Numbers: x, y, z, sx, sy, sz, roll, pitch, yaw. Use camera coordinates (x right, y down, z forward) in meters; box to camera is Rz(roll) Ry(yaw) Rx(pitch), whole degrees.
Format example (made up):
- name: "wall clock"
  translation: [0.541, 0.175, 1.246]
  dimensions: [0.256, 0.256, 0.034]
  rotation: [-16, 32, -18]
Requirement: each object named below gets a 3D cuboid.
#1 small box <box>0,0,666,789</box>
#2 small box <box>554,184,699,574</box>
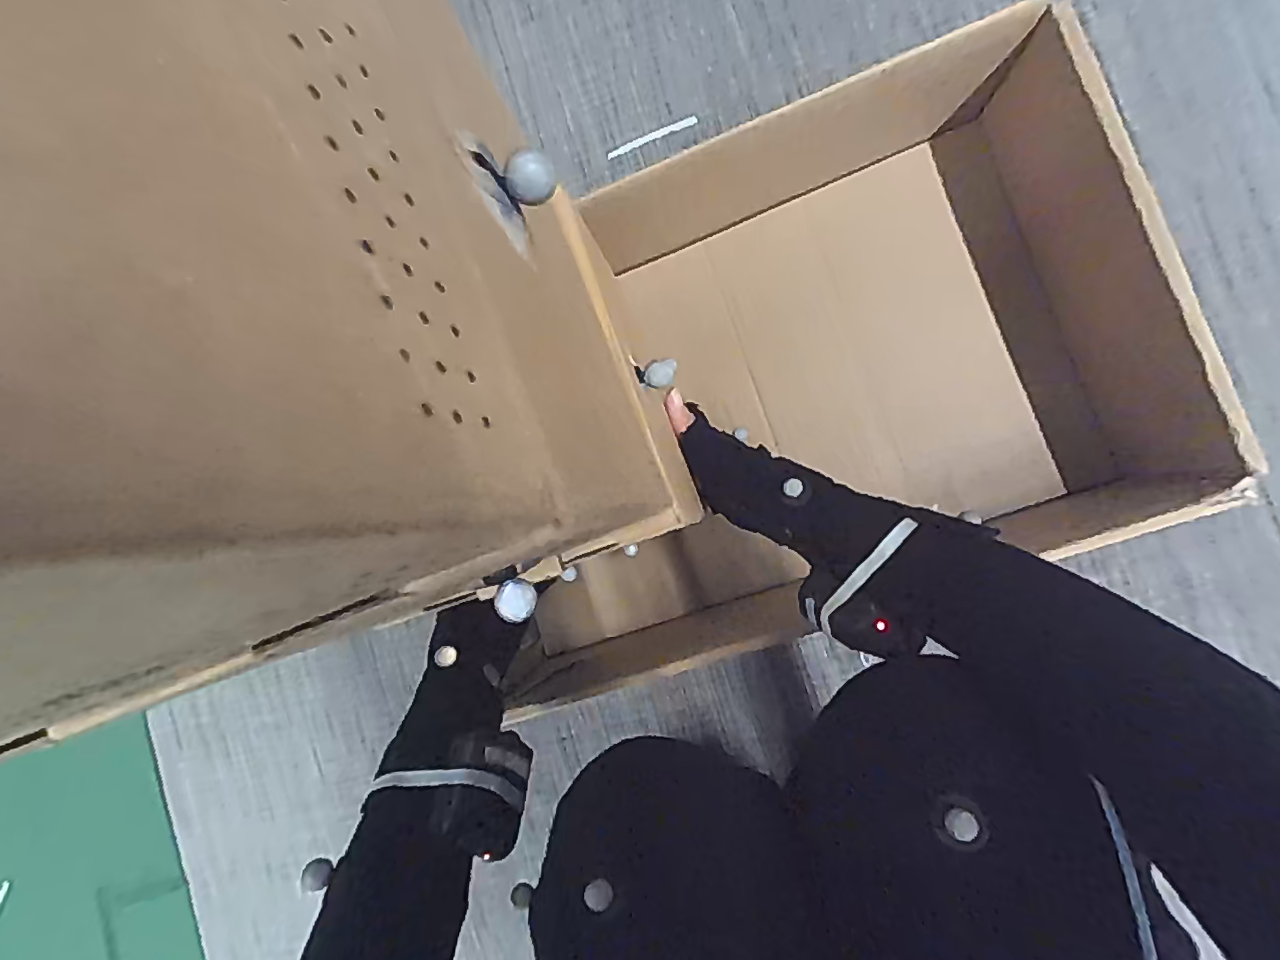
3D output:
- name: "small box"
  translation: [-0.100, -0.039, 0.175]
  dimensions: [0.168, 0.176, 0.179]
  rotation: [-21, 86, 8]
- name: "small box"
  translation: [-0.068, -0.031, 0.335]
  dimensions: [0.168, 0.176, 0.179]
  rotation: [-19, 86, 8]
